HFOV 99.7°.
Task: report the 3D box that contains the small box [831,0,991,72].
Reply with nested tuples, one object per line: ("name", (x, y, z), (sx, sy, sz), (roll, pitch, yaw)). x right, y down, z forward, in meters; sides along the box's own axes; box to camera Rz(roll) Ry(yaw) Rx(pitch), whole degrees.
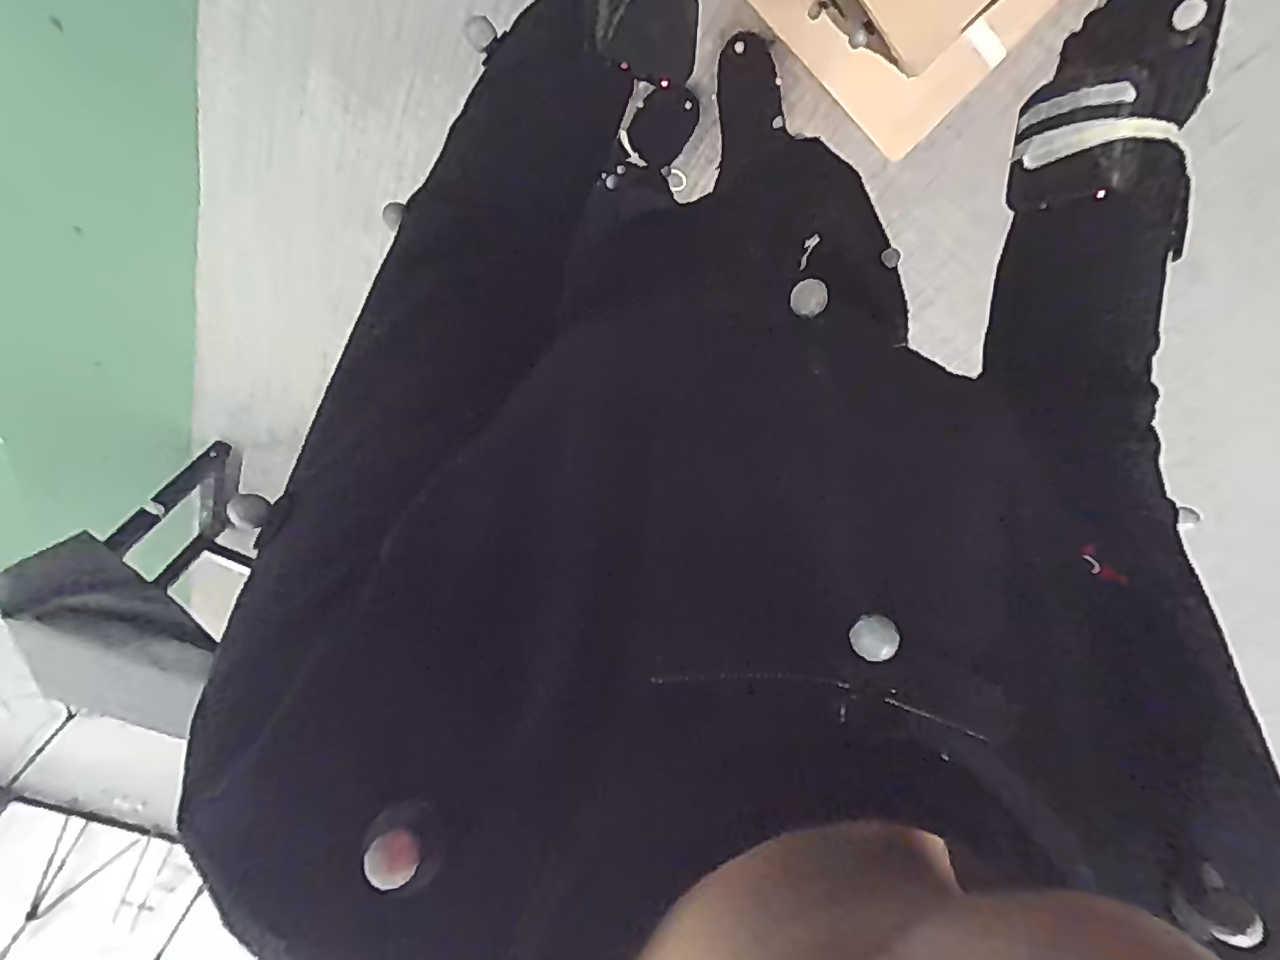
("small box", (0.172, -0.397, 0.323), (0.179, 0.176, 0.168), (36, 130, -24))

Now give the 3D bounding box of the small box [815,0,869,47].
("small box", (0.196, -0.508, 0.439), (0.168, 0.176, 0.179), (34, 129, -23))

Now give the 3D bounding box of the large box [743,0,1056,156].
("large box", (0.330, -0.753, 0.745), (0.408, 0.320, 0.320), (32, 132, -20))
